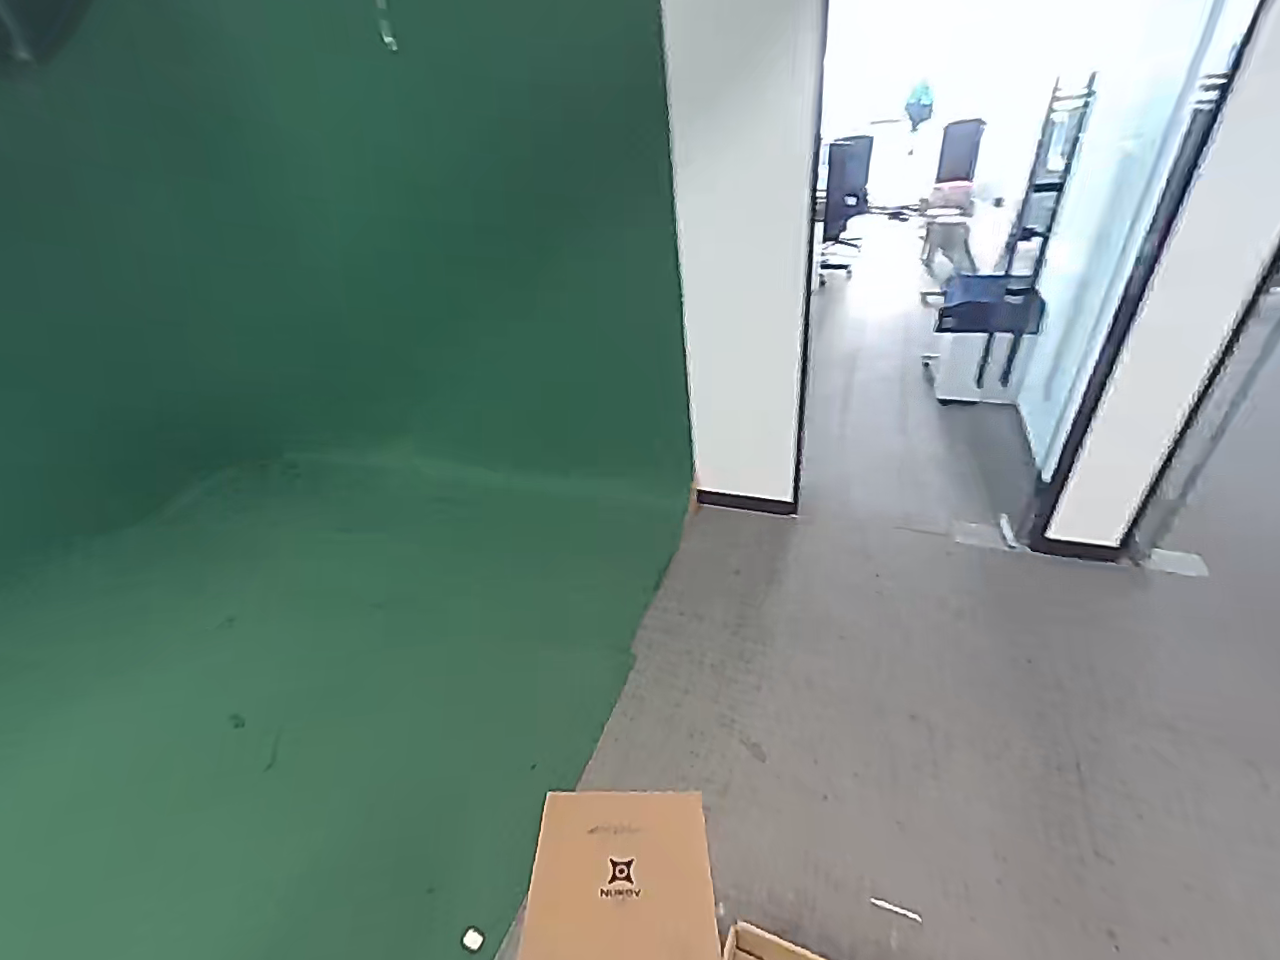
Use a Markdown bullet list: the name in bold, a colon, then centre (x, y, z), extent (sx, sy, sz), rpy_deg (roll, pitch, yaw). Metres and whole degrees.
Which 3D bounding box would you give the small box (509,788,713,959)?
- **small box**: centre (-0.020, 0.431, 0.516), extent (0.168, 0.176, 0.179), rpy_deg (0, 20, 1)
